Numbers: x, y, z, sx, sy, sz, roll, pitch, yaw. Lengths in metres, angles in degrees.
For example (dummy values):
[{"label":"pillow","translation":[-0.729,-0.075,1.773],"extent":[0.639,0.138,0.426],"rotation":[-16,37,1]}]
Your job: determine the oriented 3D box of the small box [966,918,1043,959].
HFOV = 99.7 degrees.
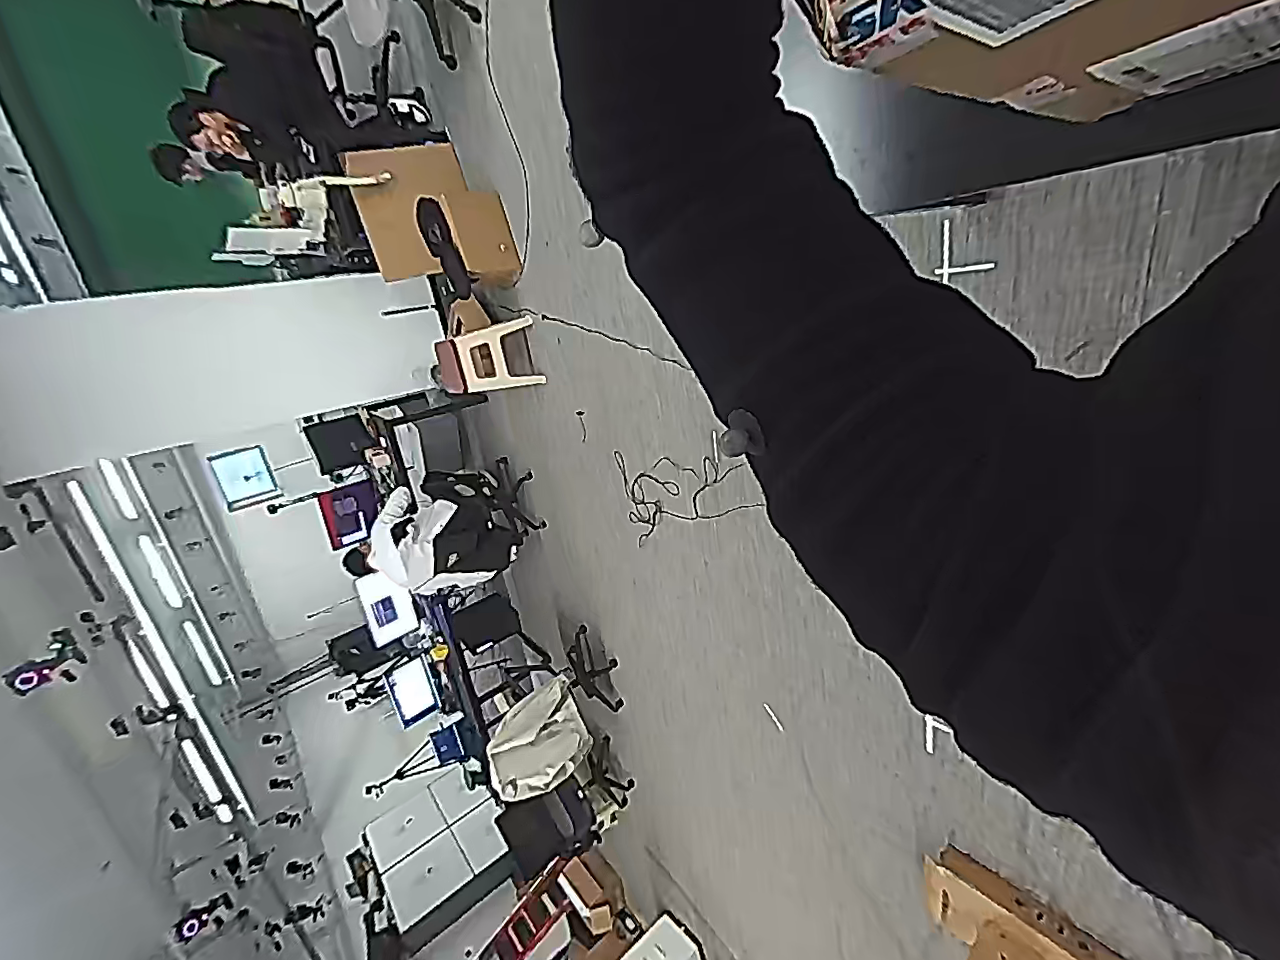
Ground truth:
[{"label":"small box","translation":[1.169,1.578,1.736],"extent":[0.168,0.176,0.179],"rotation":[13,119,51]}]
